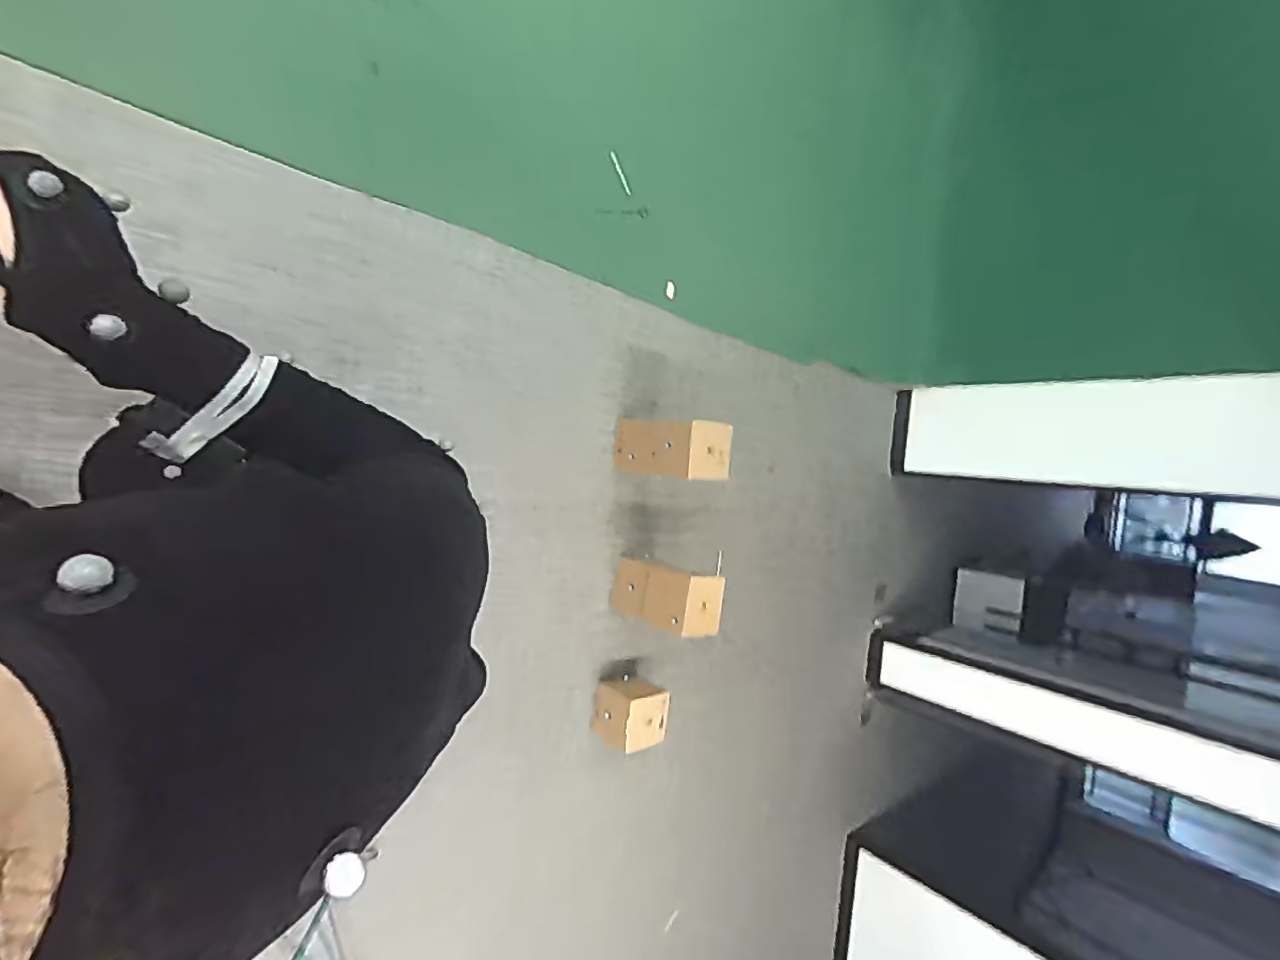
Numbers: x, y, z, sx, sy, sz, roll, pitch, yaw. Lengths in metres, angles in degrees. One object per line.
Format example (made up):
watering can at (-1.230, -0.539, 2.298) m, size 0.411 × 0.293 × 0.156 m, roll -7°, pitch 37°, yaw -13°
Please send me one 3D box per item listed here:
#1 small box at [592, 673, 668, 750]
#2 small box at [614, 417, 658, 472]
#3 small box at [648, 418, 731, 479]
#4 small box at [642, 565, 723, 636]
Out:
small box at (-0.036, 0.745, 1.759) m, size 0.179 × 0.176 × 0.168 m, roll 8°, pitch 91°, yaw -41°
small box at (0.035, -0.107, 1.714) m, size 0.179 × 0.176 × 0.168 m, roll 3°, pitch 94°, yaw -42°
small box at (0.142, -0.093, 1.589) m, size 0.179 × 0.176 × 0.168 m, roll 1°, pitch 96°, yaw -42°
small box at (0.126, 0.357, 1.634) m, size 0.168 × 0.176 × 0.179 m, roll 10°, pitch 89°, yaw -42°
